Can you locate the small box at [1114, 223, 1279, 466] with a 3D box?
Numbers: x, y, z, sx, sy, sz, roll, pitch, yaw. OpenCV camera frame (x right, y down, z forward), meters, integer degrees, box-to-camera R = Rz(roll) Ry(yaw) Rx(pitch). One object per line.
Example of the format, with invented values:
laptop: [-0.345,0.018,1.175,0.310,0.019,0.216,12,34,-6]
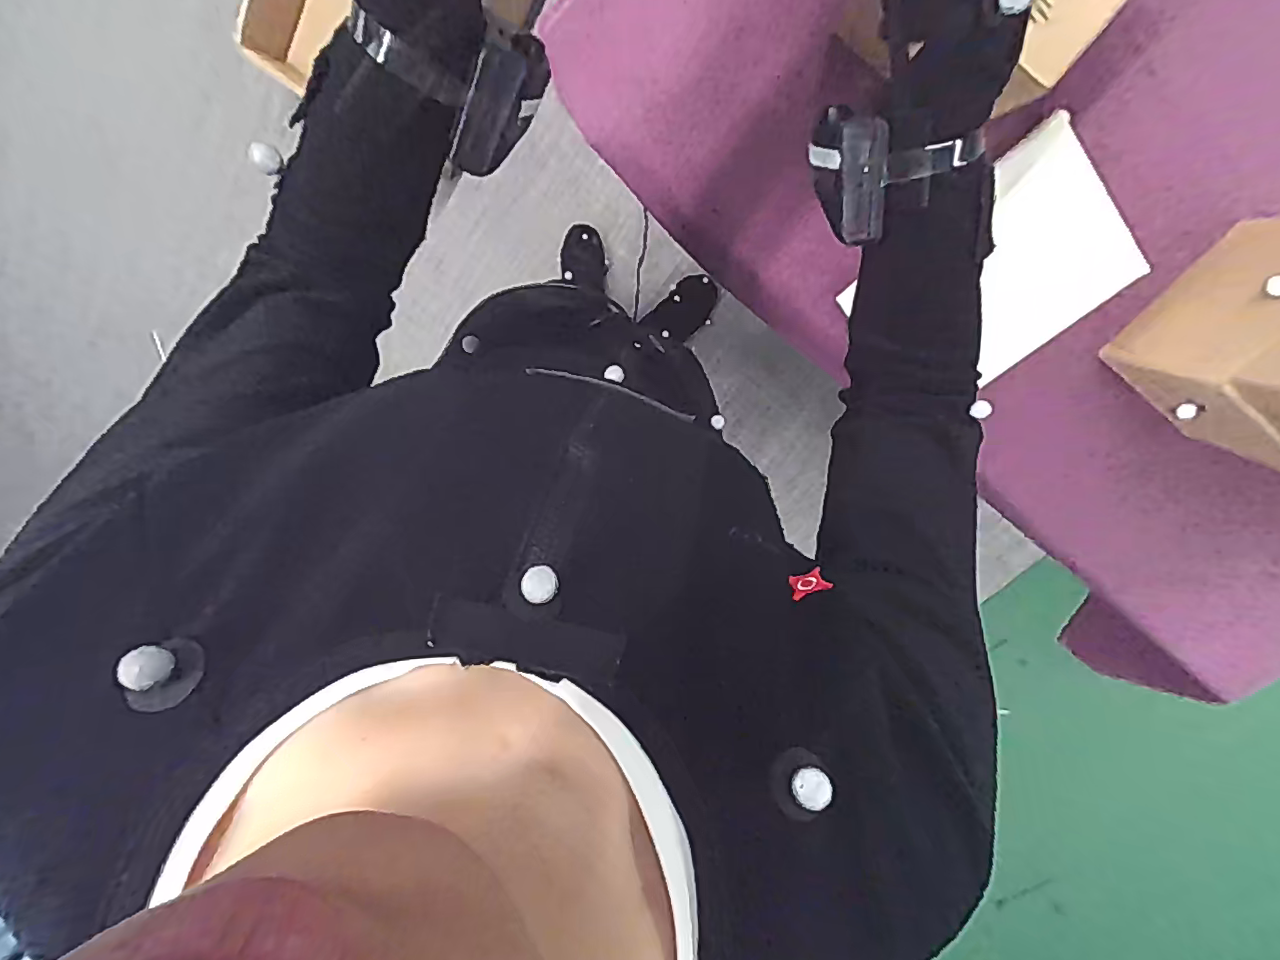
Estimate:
small box: [0.633,-0.131,0.535,0.168,0.176,0.179,36,111,-9]

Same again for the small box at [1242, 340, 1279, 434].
small box: [0.623,-0.070,0.381,0.168,0.176,0.179,39,111,-10]
